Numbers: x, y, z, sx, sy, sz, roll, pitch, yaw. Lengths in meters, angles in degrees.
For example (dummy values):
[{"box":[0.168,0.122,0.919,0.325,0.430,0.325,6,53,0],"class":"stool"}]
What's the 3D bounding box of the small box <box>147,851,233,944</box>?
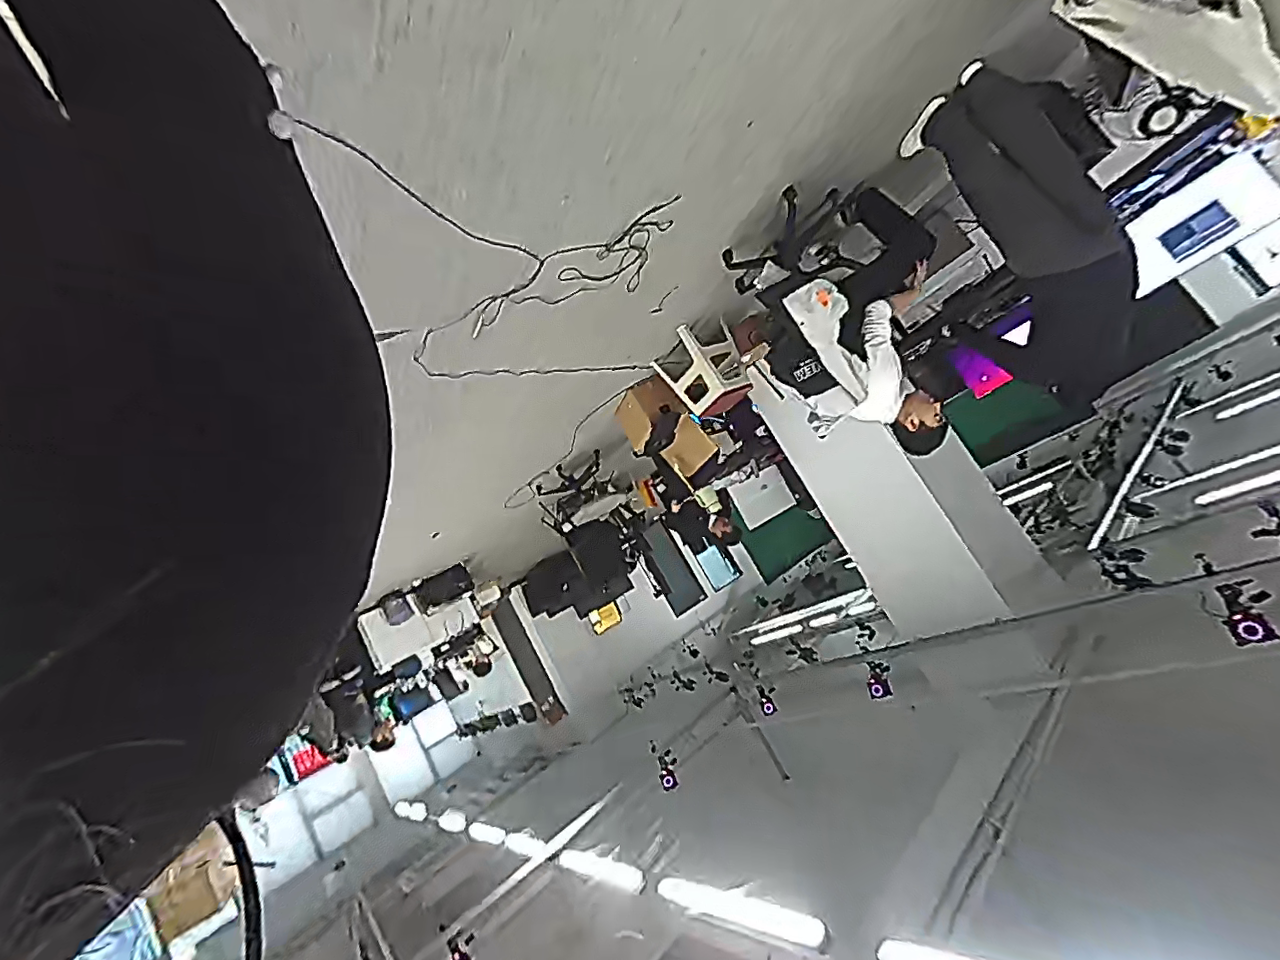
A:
[{"box":[-1.505,1.386,1.813,0.168,0.176,0.179,-23,170,-31],"class":"small box"}]
